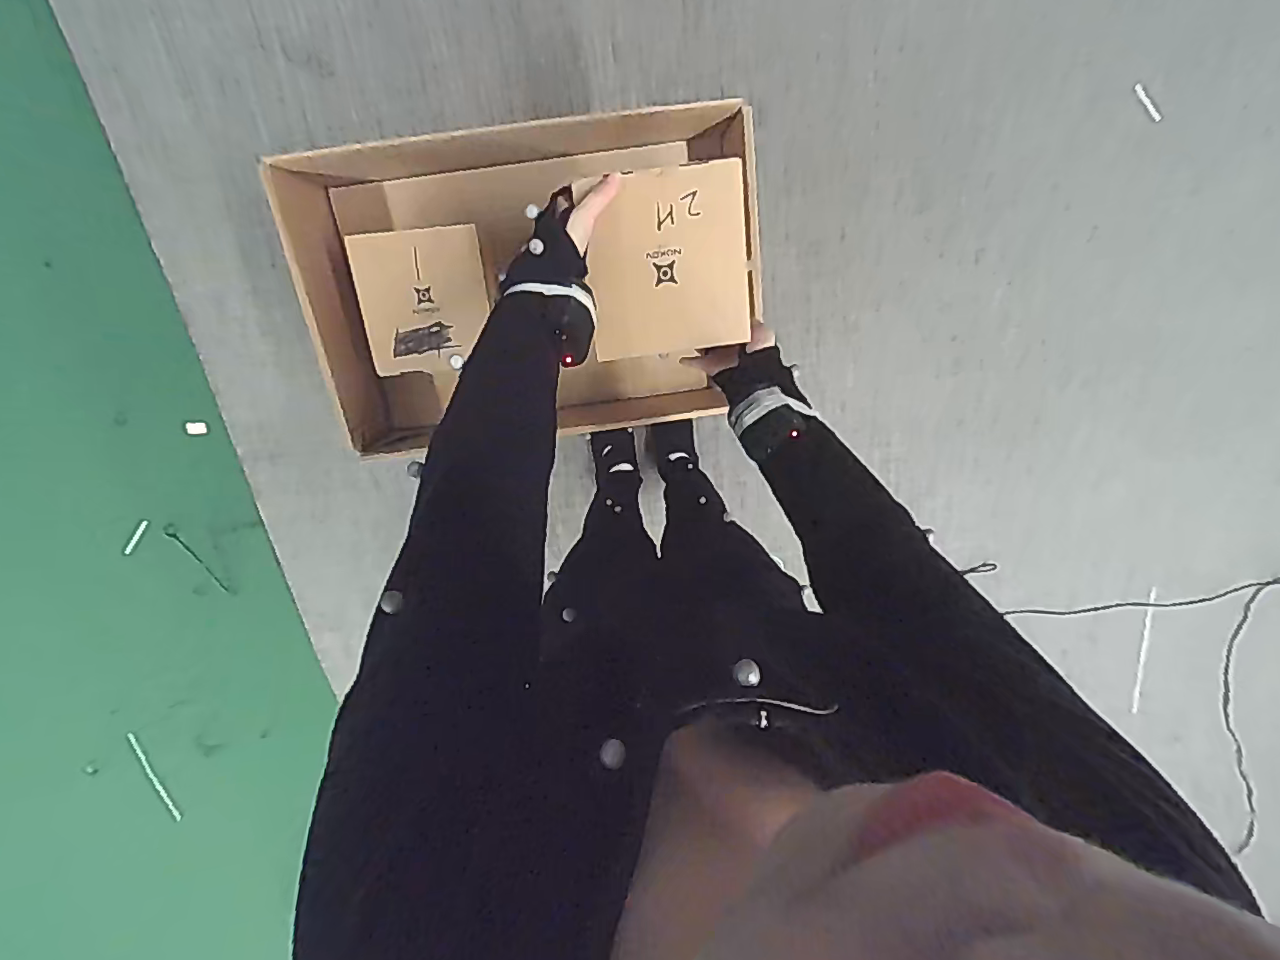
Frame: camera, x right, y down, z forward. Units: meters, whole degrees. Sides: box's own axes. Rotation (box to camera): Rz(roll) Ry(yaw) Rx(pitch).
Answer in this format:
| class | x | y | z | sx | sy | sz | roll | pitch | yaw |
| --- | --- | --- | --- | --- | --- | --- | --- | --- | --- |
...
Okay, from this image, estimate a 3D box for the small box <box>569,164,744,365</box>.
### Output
| class | x | y | z | sx | sy | sz | roll | pitch | yaw |
| --- | --- | --- | --- | --- | --- | --- | --- | --- | --- |
| small box | 0.020 | -0.237 | 0.617 | 0.168 | 0.176 | 0.179 | -7 | 109 | 0 |
